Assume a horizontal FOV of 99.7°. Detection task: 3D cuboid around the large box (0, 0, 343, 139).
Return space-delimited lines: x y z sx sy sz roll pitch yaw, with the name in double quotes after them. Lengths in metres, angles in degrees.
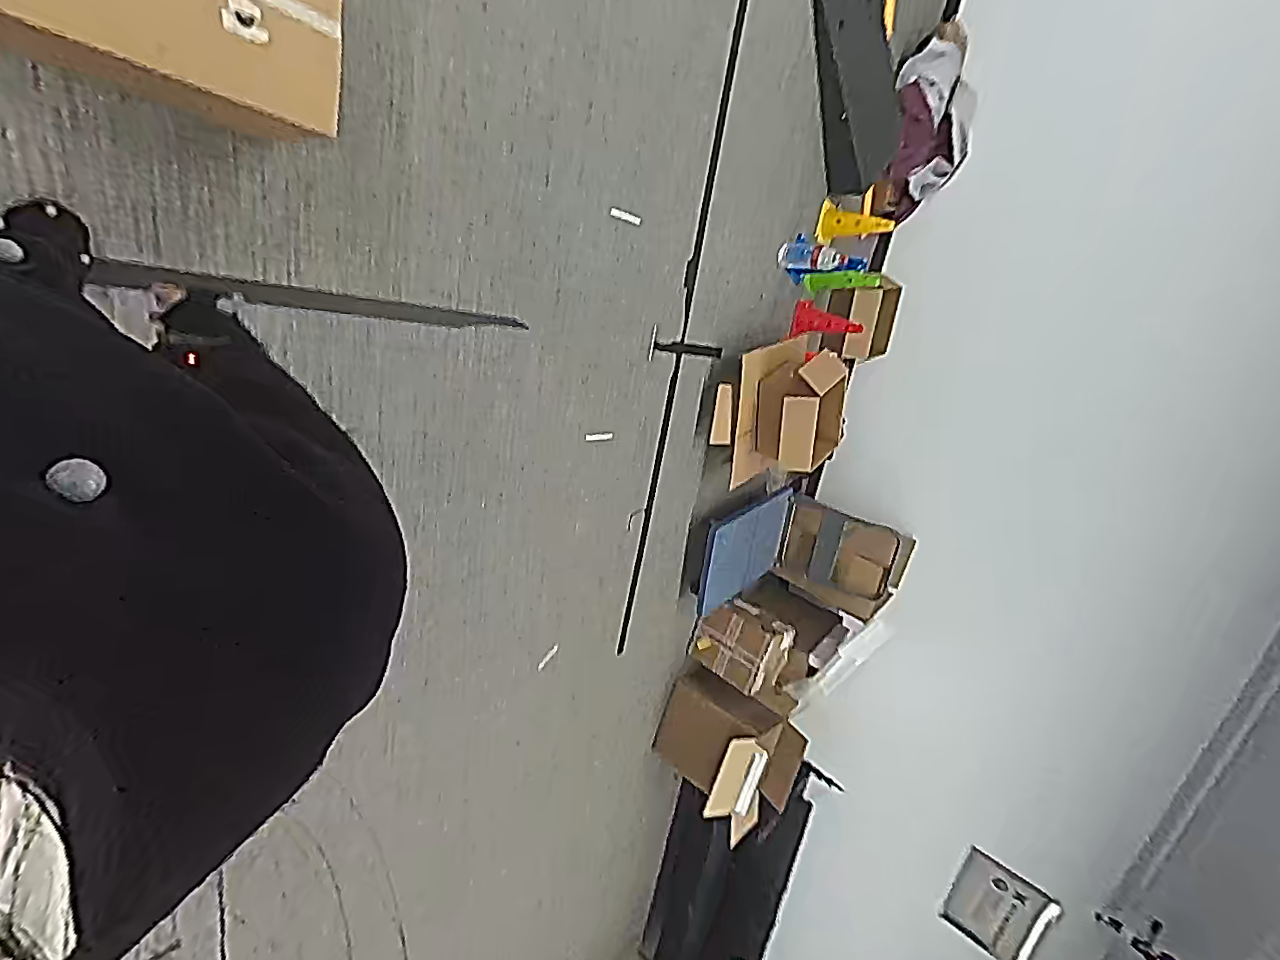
-0.739 -0.780 0.838 0.408 0.320 0.320 -8 116 -51 "large box"
